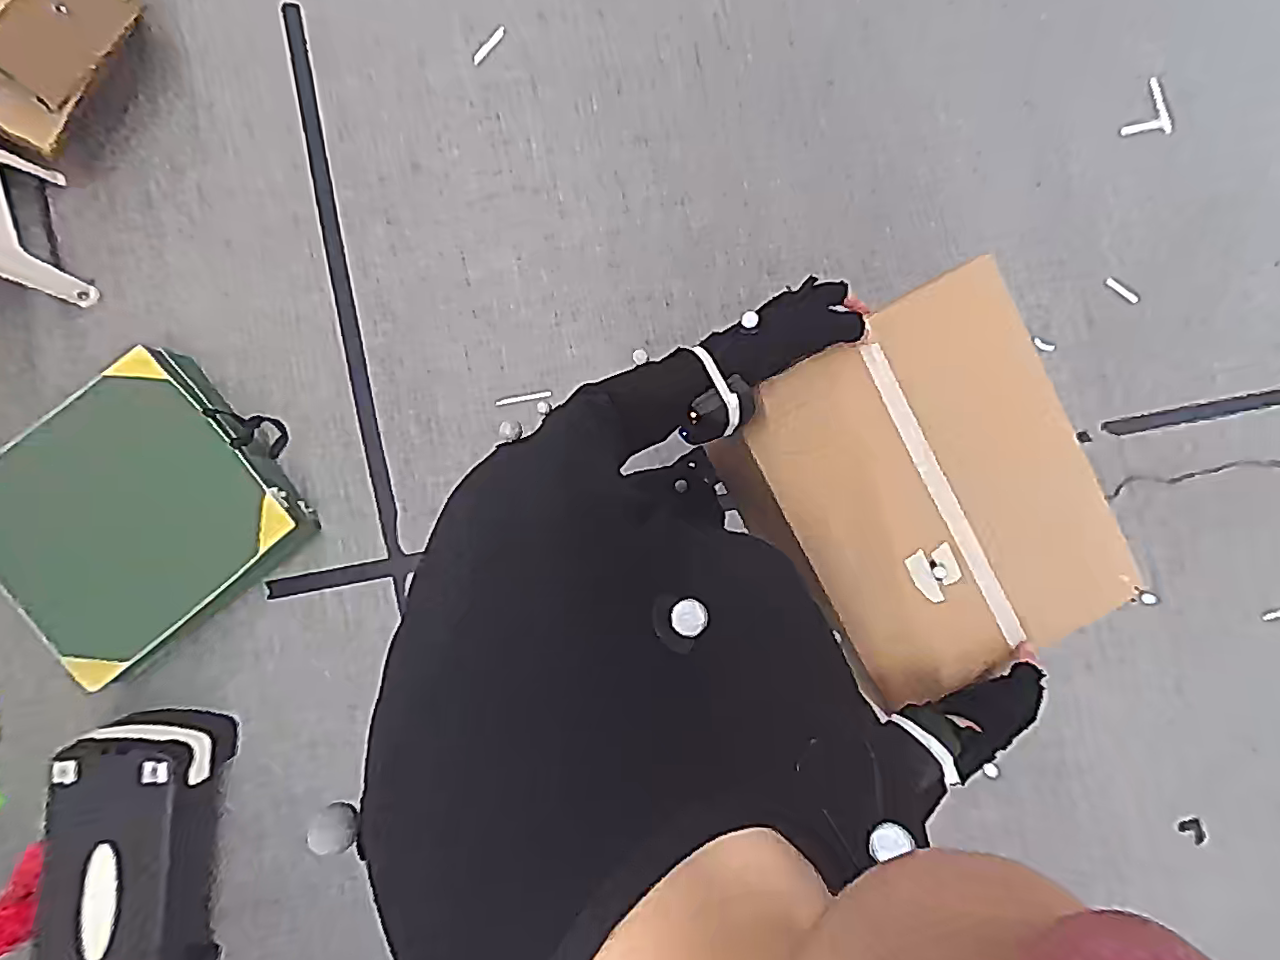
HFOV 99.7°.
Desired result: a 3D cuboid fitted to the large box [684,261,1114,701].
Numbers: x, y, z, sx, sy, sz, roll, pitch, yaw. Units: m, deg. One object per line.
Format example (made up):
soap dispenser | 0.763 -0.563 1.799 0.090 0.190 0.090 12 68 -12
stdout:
large box | 0.301 -0.005 0.739 0.320 0.320 0.408 -29 96 1
